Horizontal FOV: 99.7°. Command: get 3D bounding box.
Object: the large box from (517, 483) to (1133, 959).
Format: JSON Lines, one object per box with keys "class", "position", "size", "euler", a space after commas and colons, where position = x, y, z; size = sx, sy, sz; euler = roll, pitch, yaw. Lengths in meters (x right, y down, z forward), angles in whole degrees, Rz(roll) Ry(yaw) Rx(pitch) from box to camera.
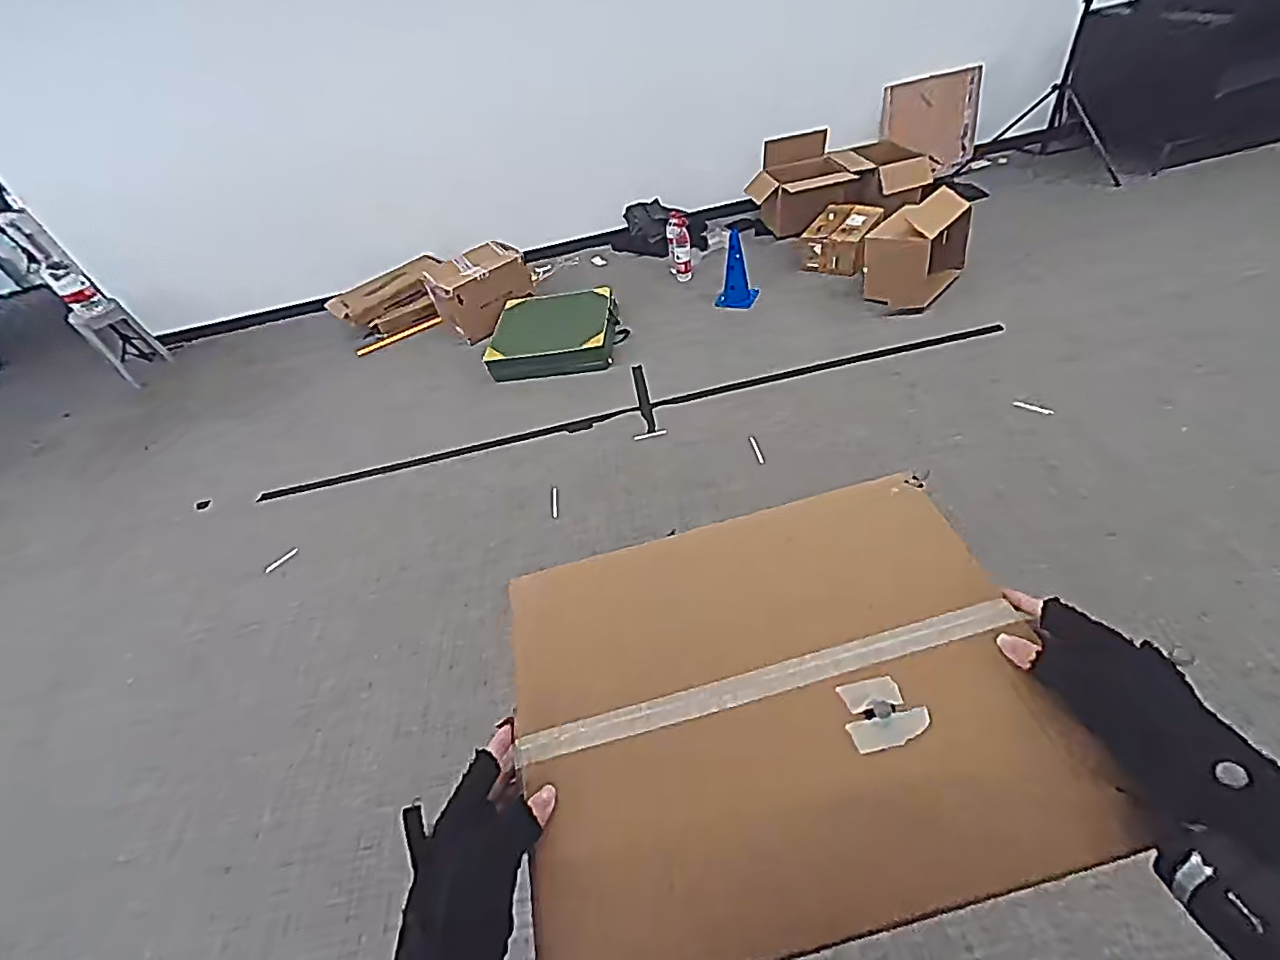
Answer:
{"class": "large box", "position": [0.123, 0.261, 0.555], "size": [0.408, 0.320, 0.320], "euler": [-15, 50, -2]}
